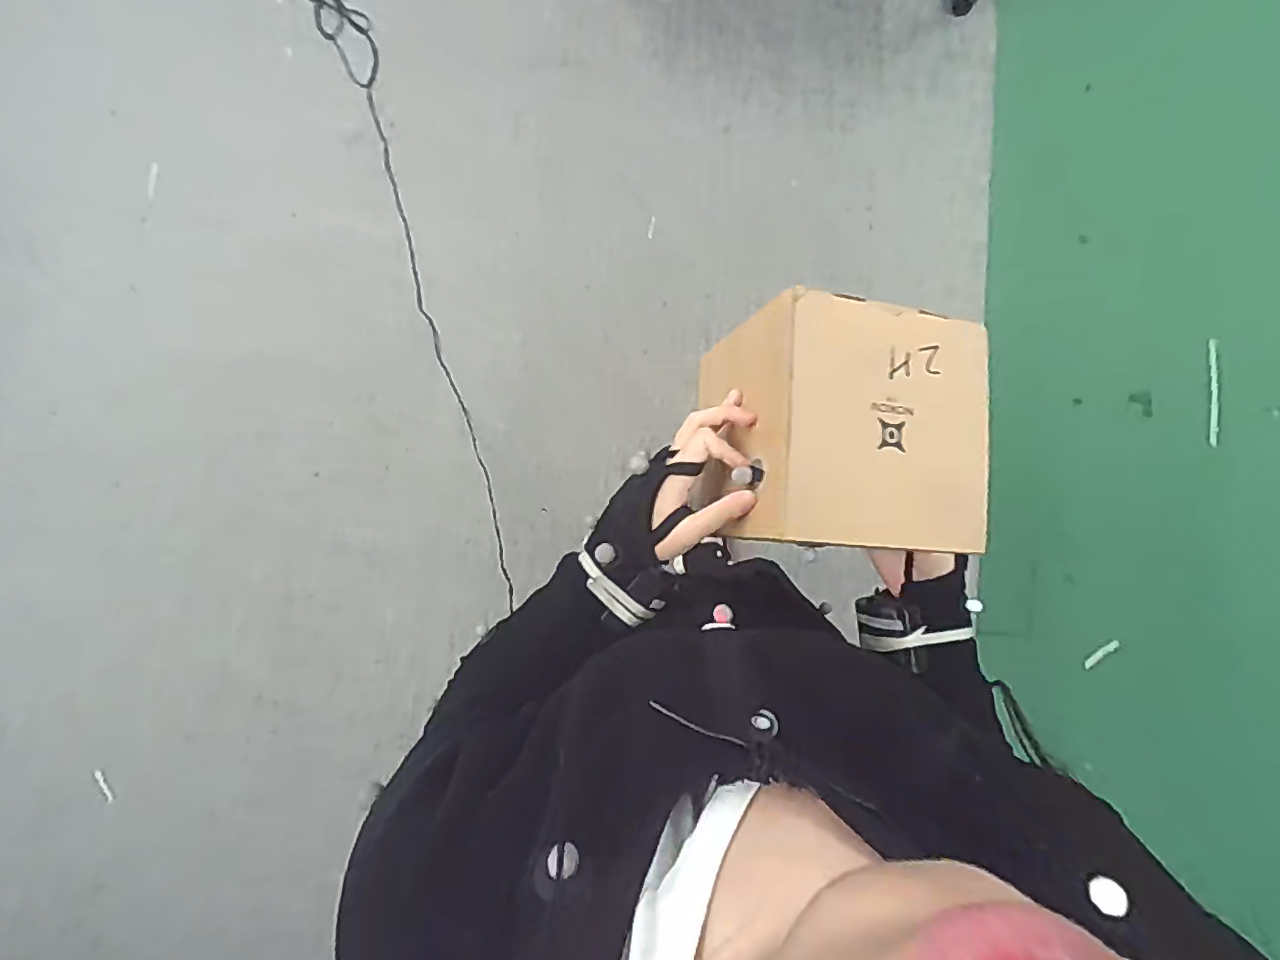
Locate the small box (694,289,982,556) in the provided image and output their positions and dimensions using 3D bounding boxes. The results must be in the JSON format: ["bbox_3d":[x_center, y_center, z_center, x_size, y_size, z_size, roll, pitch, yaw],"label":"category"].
[{"bbox_3d":[0.153,-0.032,0.460,0.168,0.176,0.179,6,83,-16],"label":"small box"}]
